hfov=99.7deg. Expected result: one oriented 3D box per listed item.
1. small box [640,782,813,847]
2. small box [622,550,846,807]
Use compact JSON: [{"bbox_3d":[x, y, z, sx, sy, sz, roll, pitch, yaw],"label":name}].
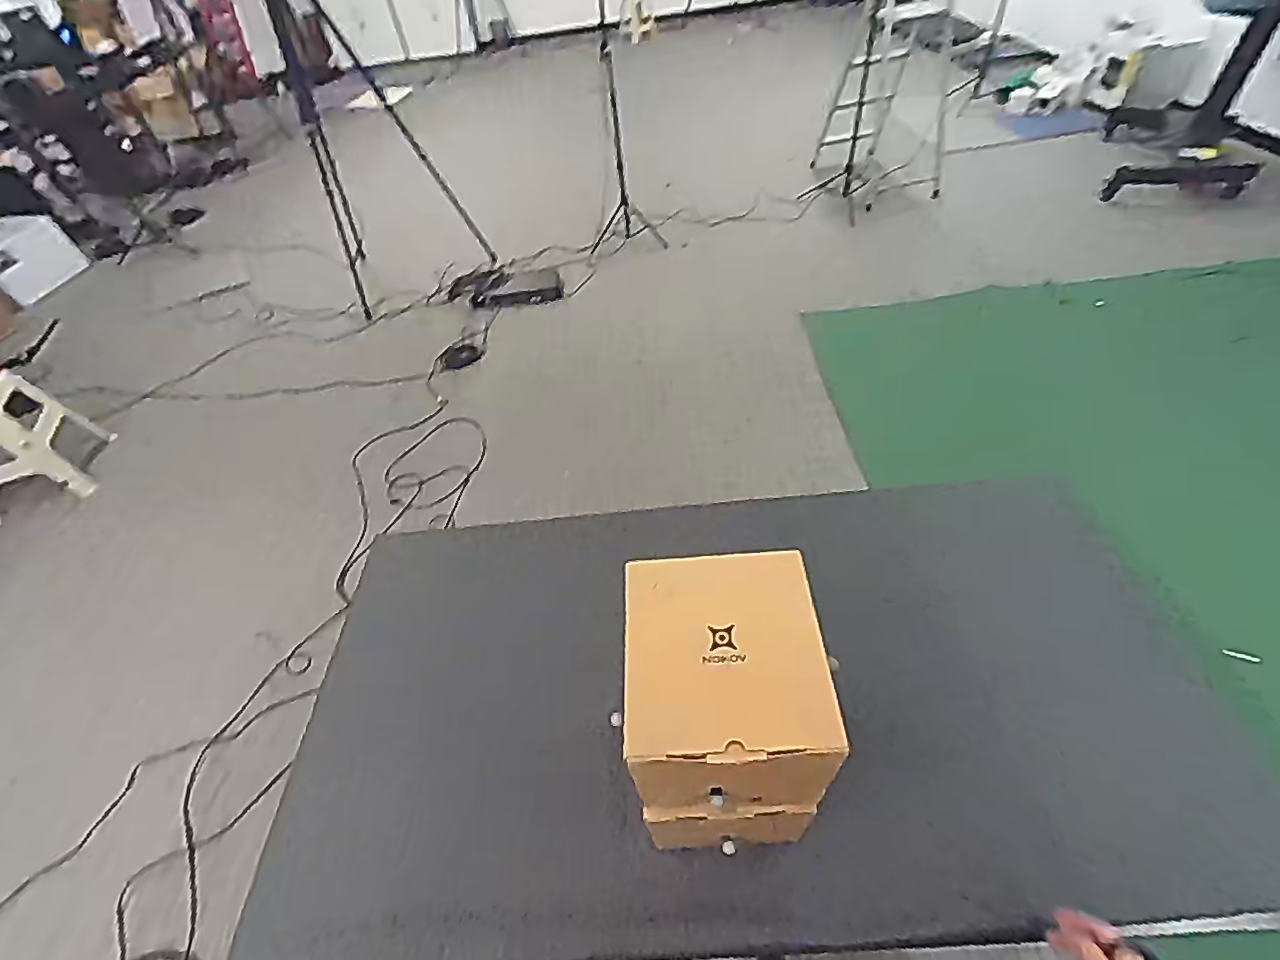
[{"bbox_3d":[0.087,0.302,0.621,0.168,0.176,0.179,-5,48,4],"label":"small box"},{"bbox_3d":[0.074,0.187,0.507,0.168,0.176,0.179,-4,48,4],"label":"small box"}]
